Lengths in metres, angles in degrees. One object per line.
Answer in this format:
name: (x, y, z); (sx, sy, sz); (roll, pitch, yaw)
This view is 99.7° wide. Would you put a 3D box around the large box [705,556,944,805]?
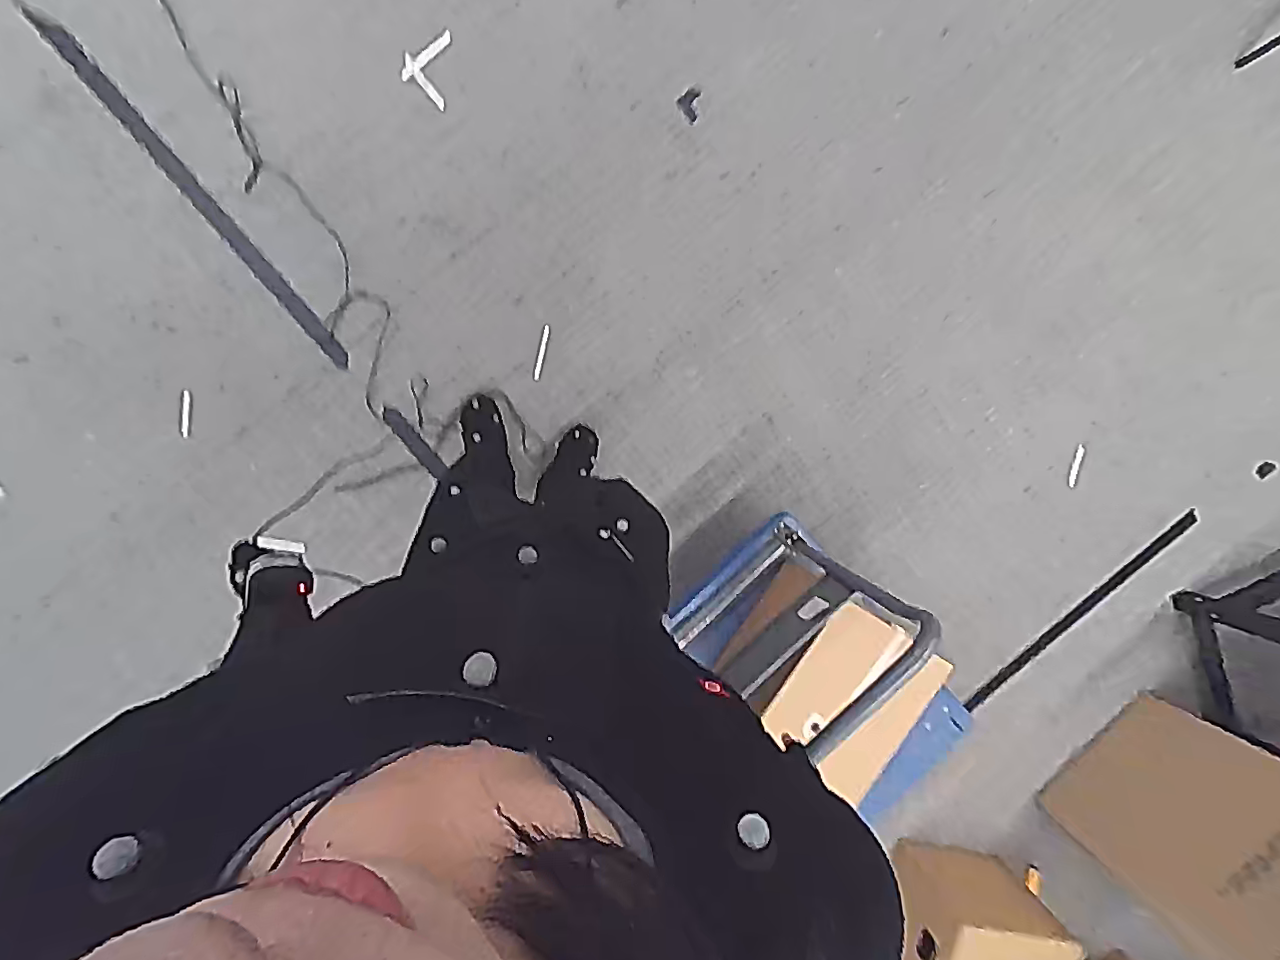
large box: (0.417, 0.458, 1.307); (0.320, 0.320, 0.408); (32, 94, -10)
